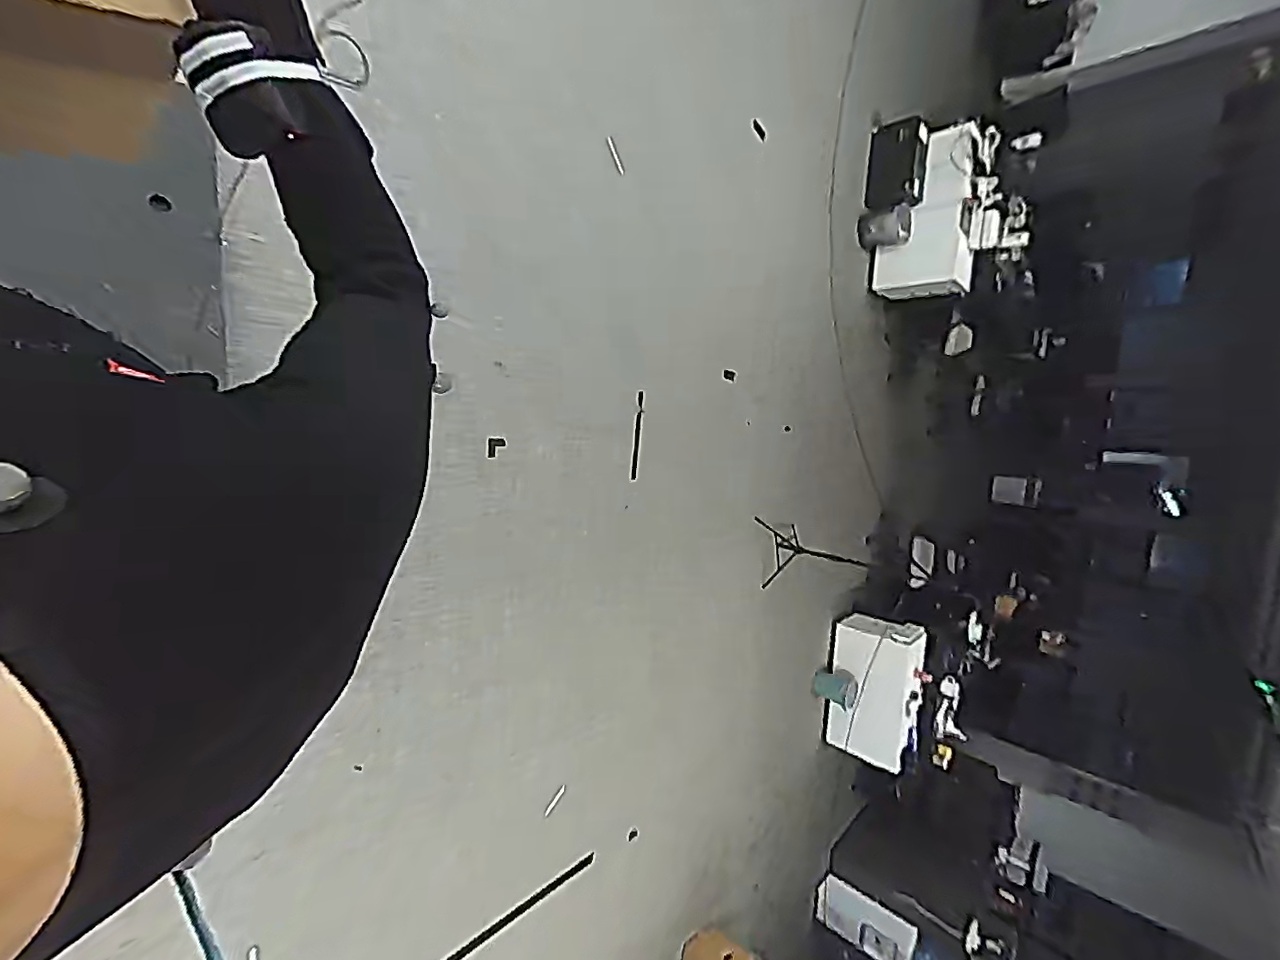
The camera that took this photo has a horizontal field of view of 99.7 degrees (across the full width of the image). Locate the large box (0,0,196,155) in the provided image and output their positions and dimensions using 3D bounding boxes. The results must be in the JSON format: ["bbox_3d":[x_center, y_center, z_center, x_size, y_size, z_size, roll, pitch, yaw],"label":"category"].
[{"bbox_3d":[-0.551,-0.402,0.275,0.408,0.320,0.320,-23,113,-45],"label":"large box"}]
